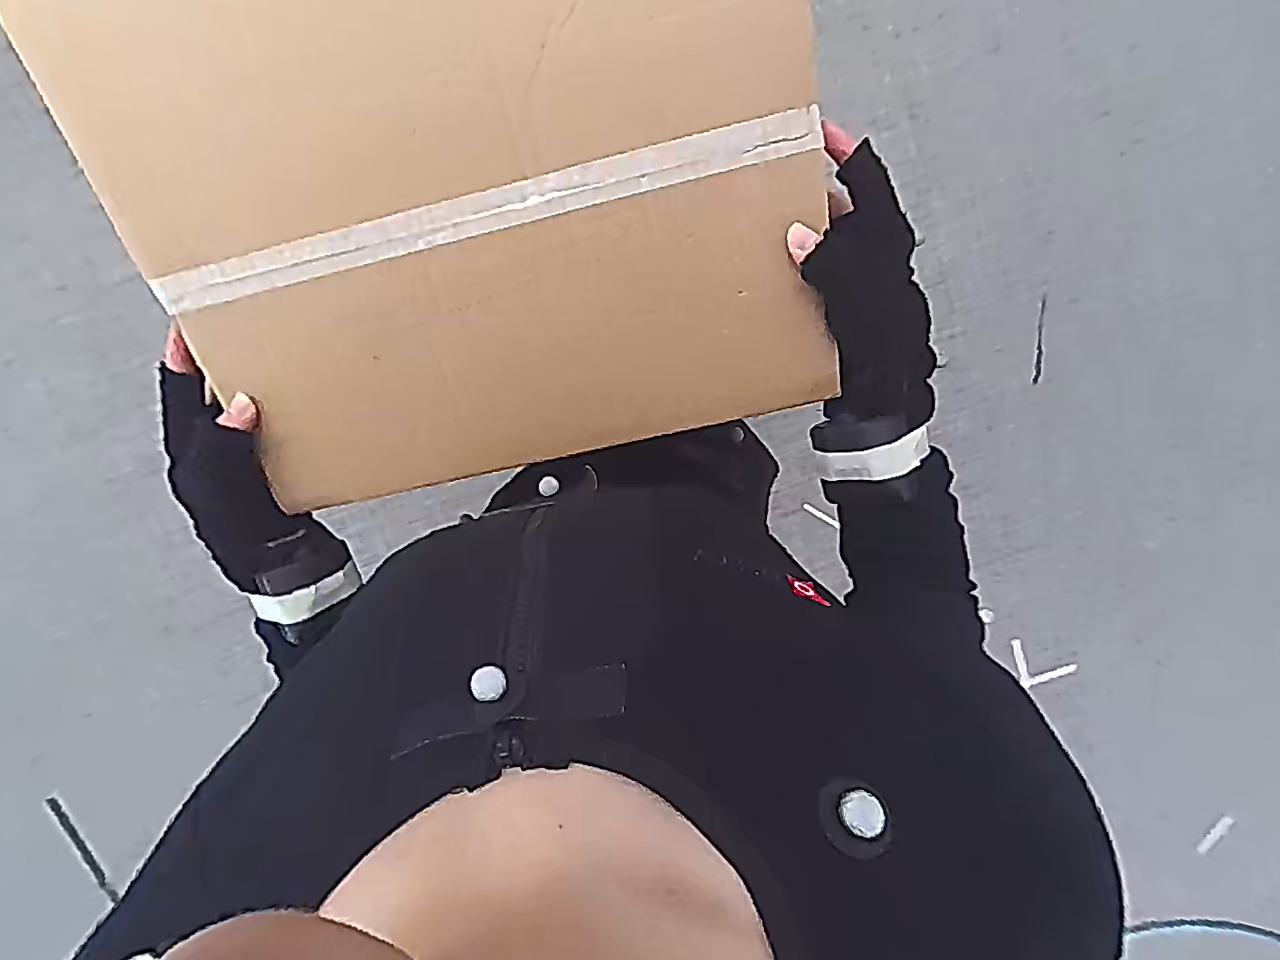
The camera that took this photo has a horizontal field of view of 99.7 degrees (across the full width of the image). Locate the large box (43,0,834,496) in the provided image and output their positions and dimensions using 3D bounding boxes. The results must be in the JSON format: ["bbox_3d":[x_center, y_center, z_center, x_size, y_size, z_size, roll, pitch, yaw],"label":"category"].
[{"bbox_3d":[-0.096,-0.223,0.463,0.408,0.320,0.320,-12,115,5],"label":"large box"}]
